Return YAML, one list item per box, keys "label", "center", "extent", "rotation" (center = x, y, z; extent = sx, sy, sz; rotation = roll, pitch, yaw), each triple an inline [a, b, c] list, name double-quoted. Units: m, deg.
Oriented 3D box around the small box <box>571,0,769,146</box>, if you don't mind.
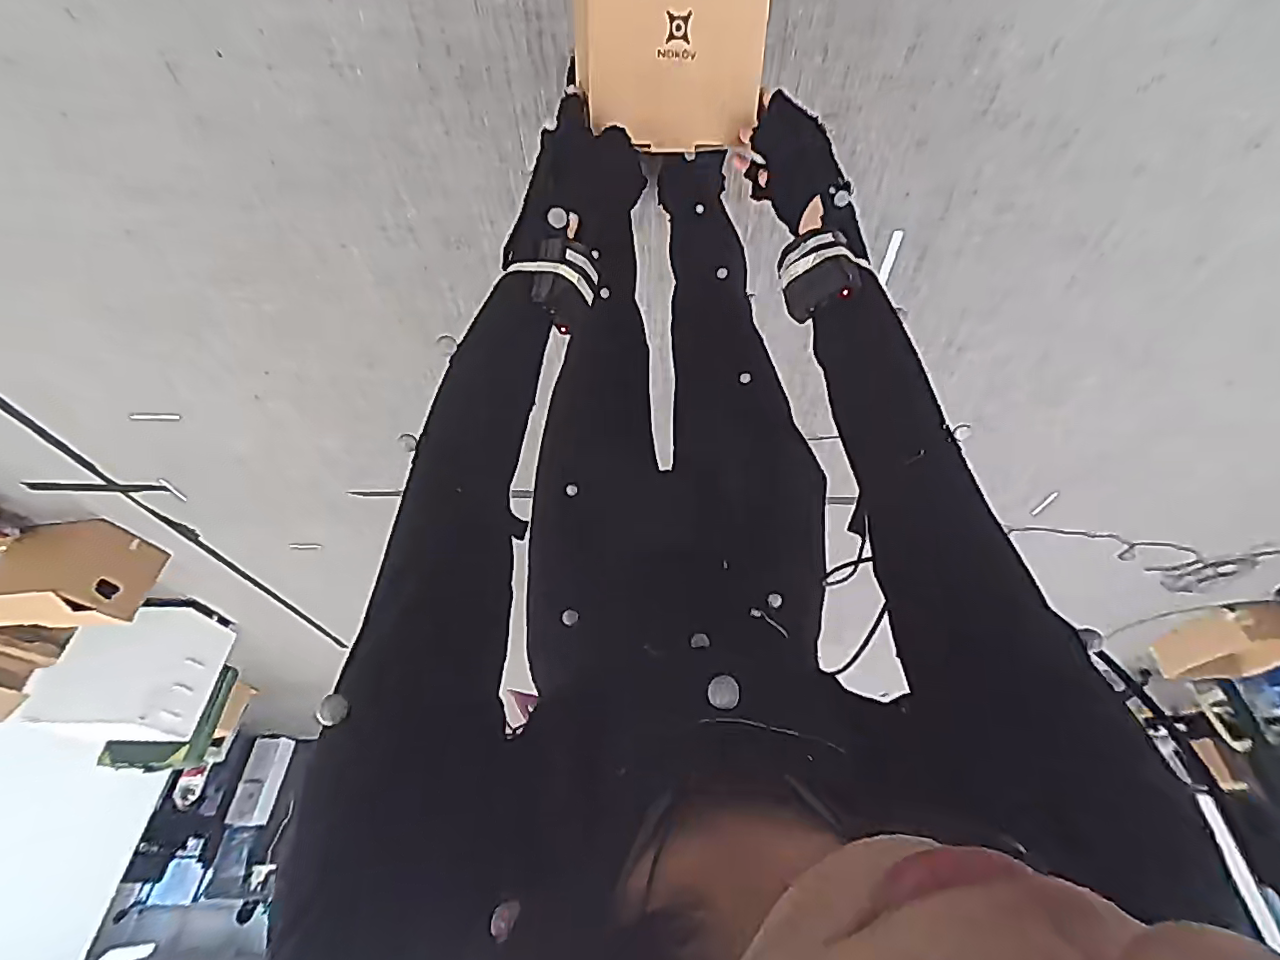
- label: "small box"
  center: [0.020, -0.444, 0.539]
  extent: [0.168, 0.176, 0.179]
  rotation: [-5, 126, -9]
